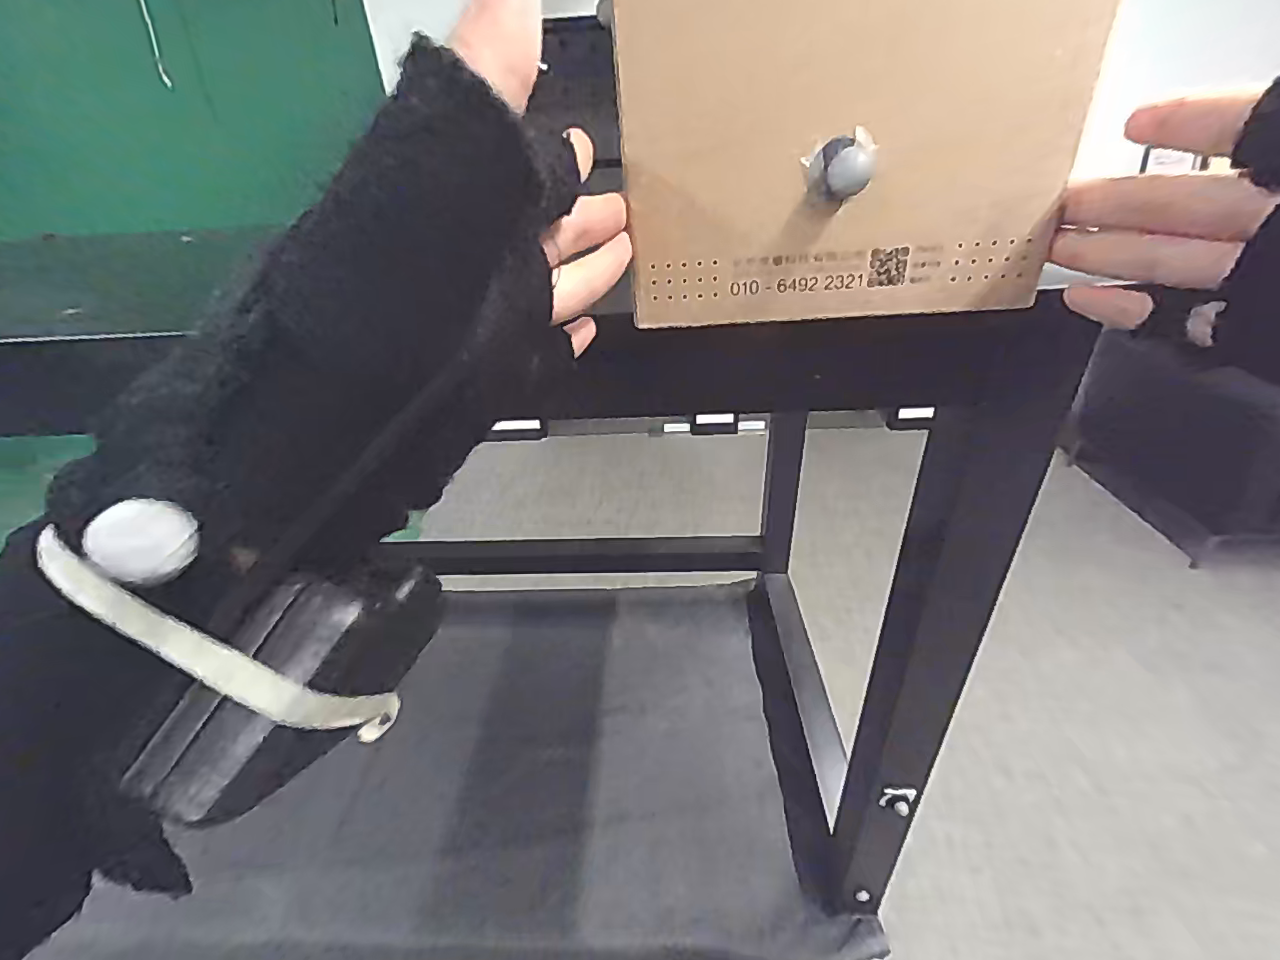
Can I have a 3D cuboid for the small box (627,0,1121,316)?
[{"bbox_3d":[0.082,-0.183,0.261,0.168,0.176,0.179,-2,31,5],"label":"small box"}]
